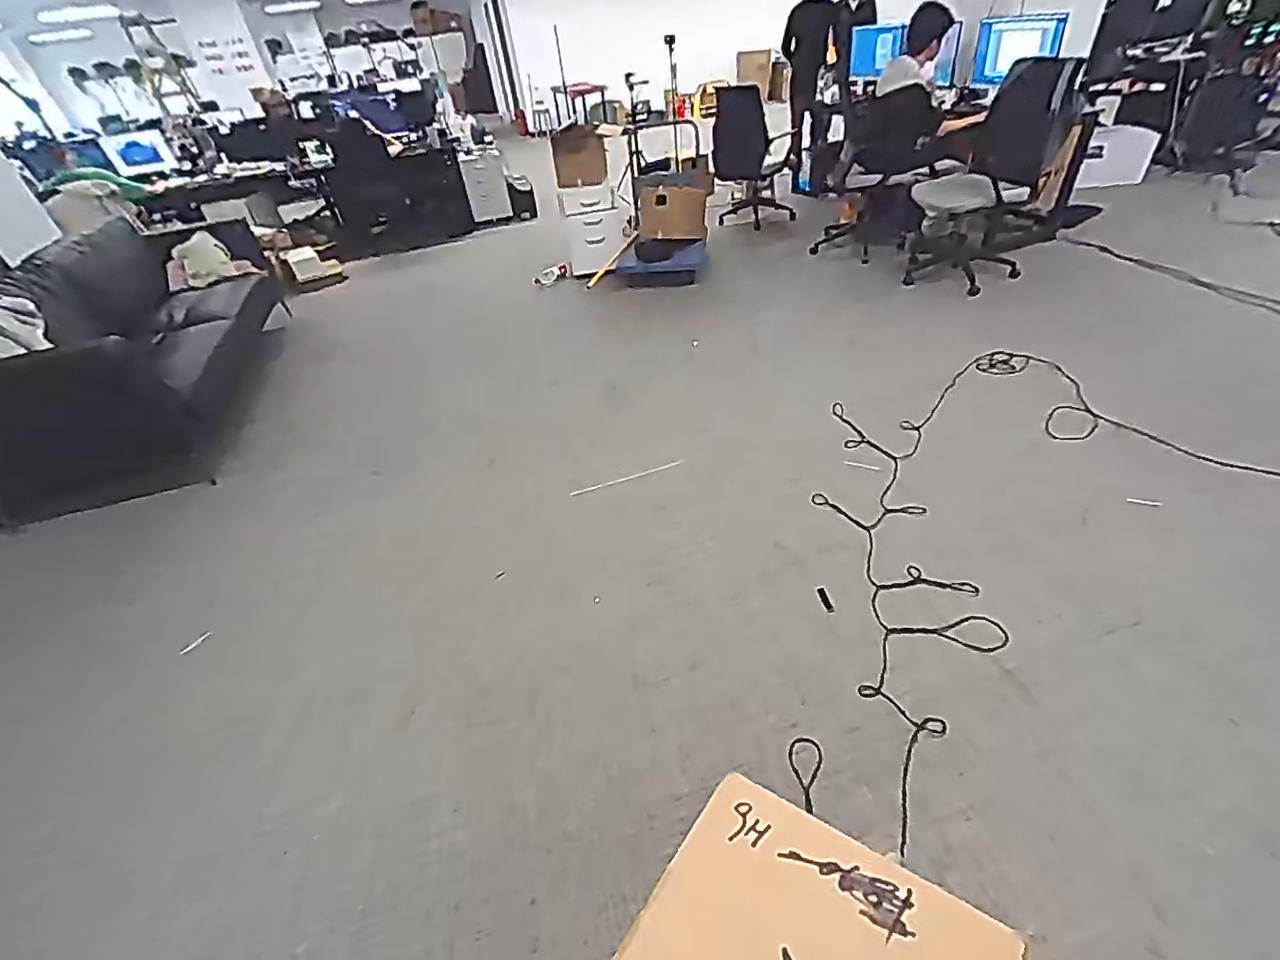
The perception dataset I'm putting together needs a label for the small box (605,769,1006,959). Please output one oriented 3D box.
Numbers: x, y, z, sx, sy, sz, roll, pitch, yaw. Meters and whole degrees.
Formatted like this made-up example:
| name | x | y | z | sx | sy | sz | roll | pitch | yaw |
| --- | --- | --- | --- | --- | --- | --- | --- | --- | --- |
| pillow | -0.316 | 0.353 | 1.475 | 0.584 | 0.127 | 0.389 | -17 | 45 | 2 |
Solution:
| name | x | y | z | sx | sy | sz | roll | pitch | yaw |
| --- | --- | --- | --- | --- | --- | --- | --- | --- | --- |
| small box | 0.088 | 0.320 | 0.305 | 0.168 | 0.176 | 0.179 | 12 | 39 | 40 |
